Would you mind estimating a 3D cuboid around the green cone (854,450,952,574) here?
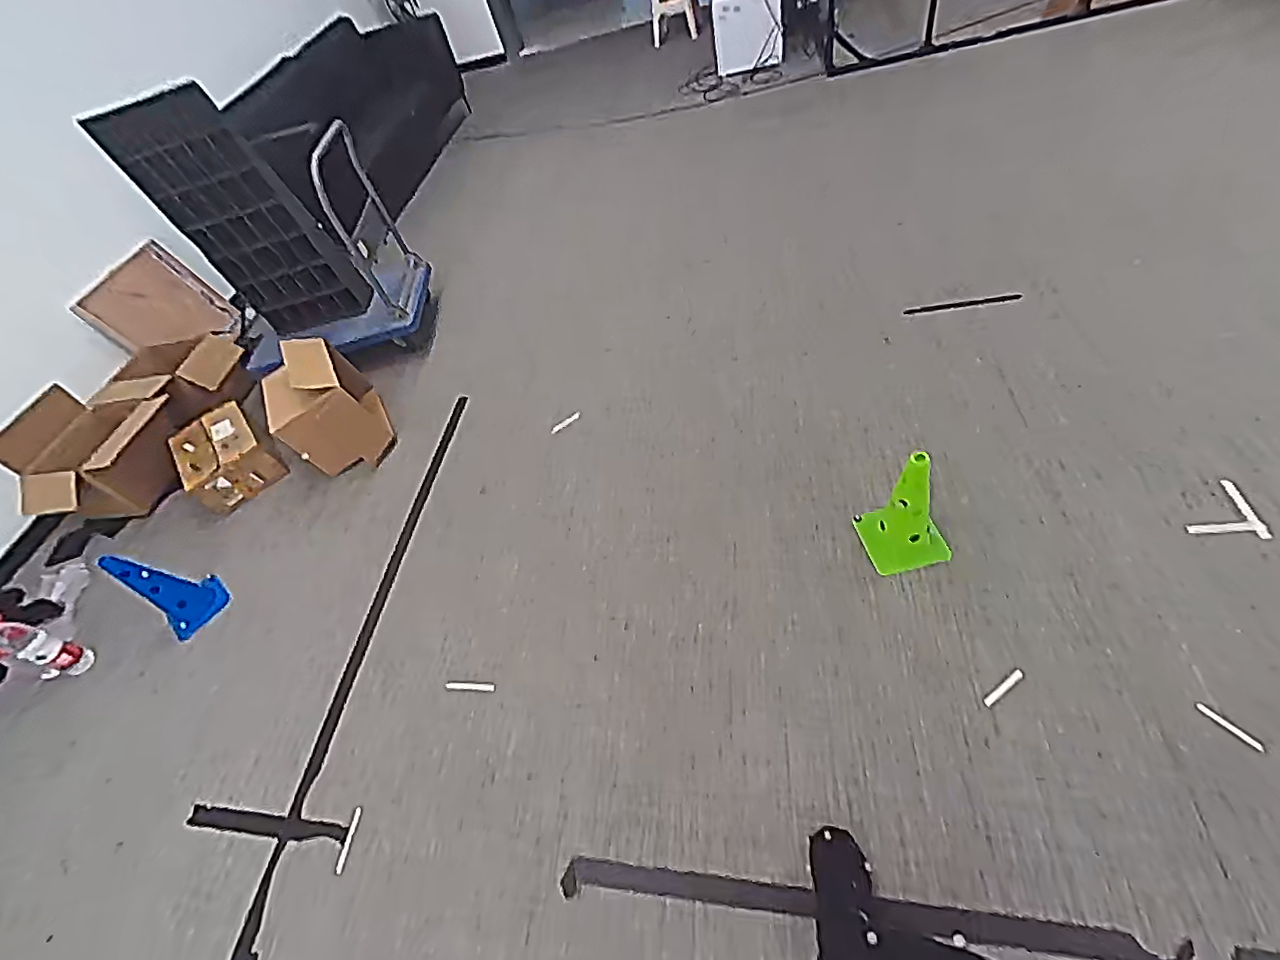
[{"bbox_3d":[0.686,0.056,1.369,0.202,0.368,0.200,-15,51,4],"label":"green cone"}]
